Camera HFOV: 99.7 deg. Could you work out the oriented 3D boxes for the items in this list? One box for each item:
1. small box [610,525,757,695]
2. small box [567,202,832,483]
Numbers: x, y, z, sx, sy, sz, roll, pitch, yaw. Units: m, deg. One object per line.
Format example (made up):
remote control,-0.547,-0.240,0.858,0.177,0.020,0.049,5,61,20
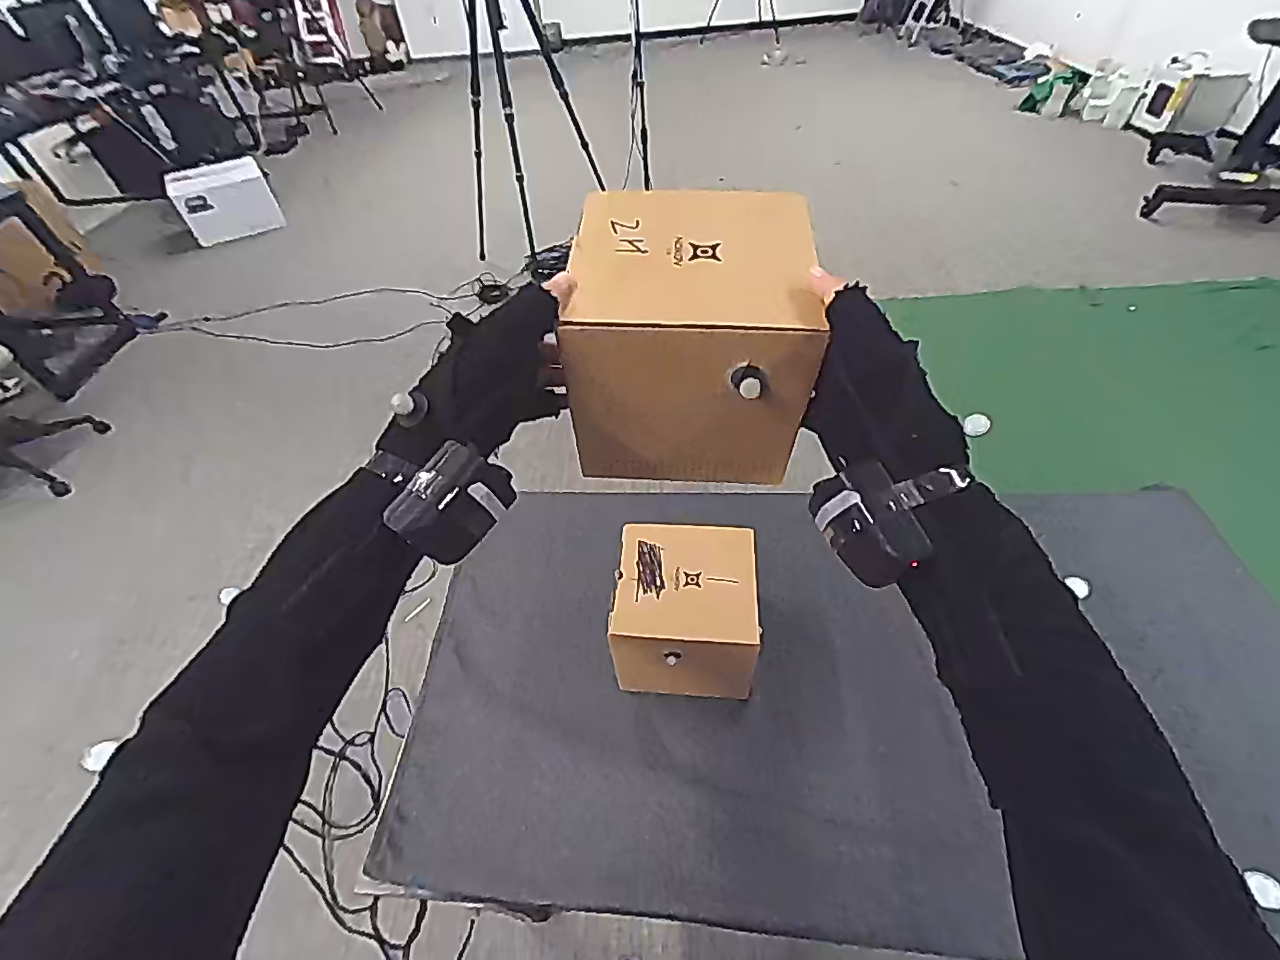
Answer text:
small box,0.062,0.180,0.741,0.179,0.176,0.168,2,47,5
small box,0.045,-0.111,0.463,0.179,0.176,0.168,3,53,3
